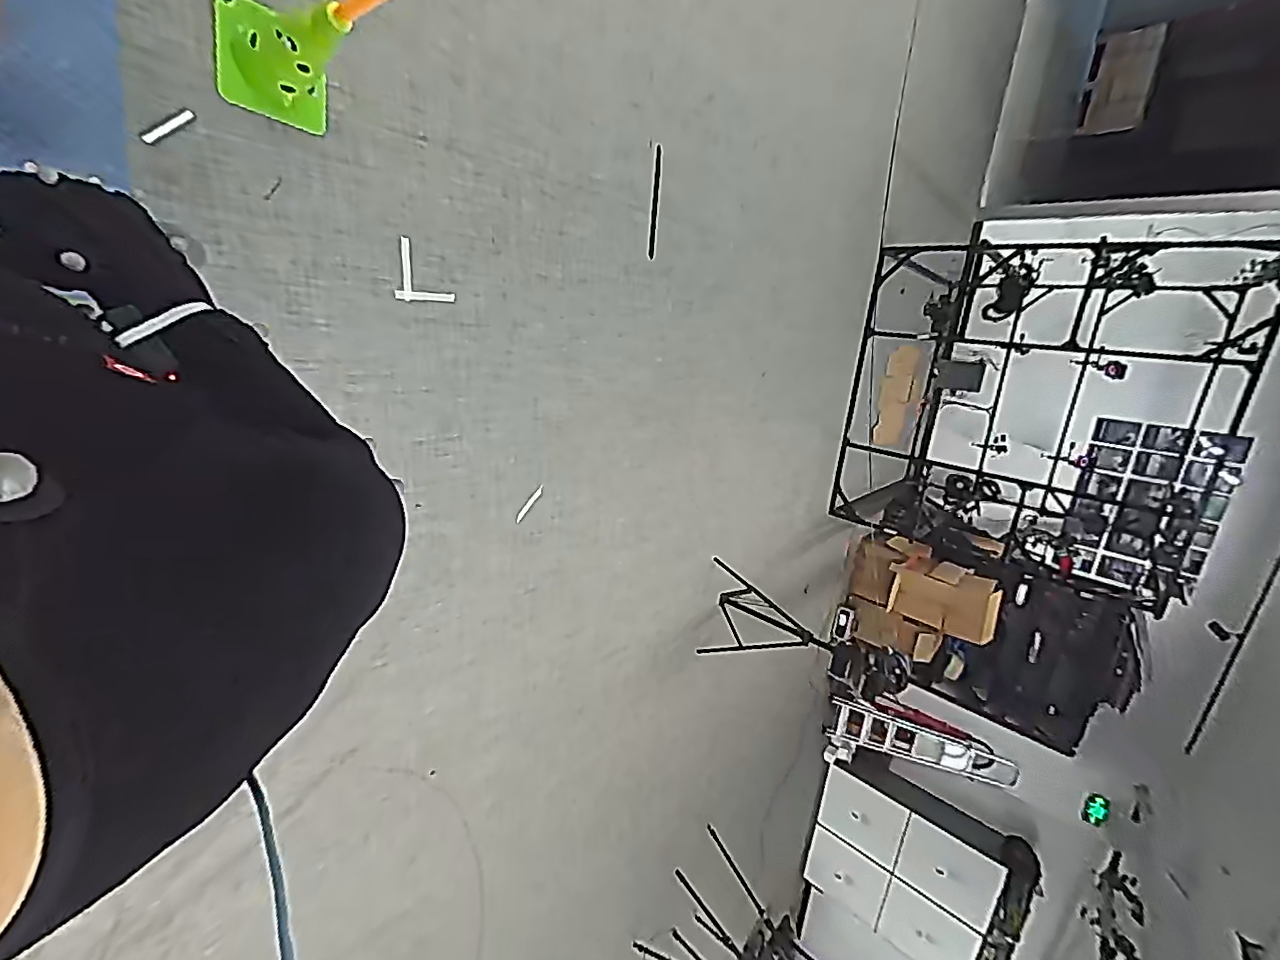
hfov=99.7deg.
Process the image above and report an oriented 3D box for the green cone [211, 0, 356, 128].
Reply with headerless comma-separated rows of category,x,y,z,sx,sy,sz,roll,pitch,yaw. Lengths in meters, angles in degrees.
green cone,-0.645,-0.838,1.030,0.202,0.368,0.200,-8,110,-50
